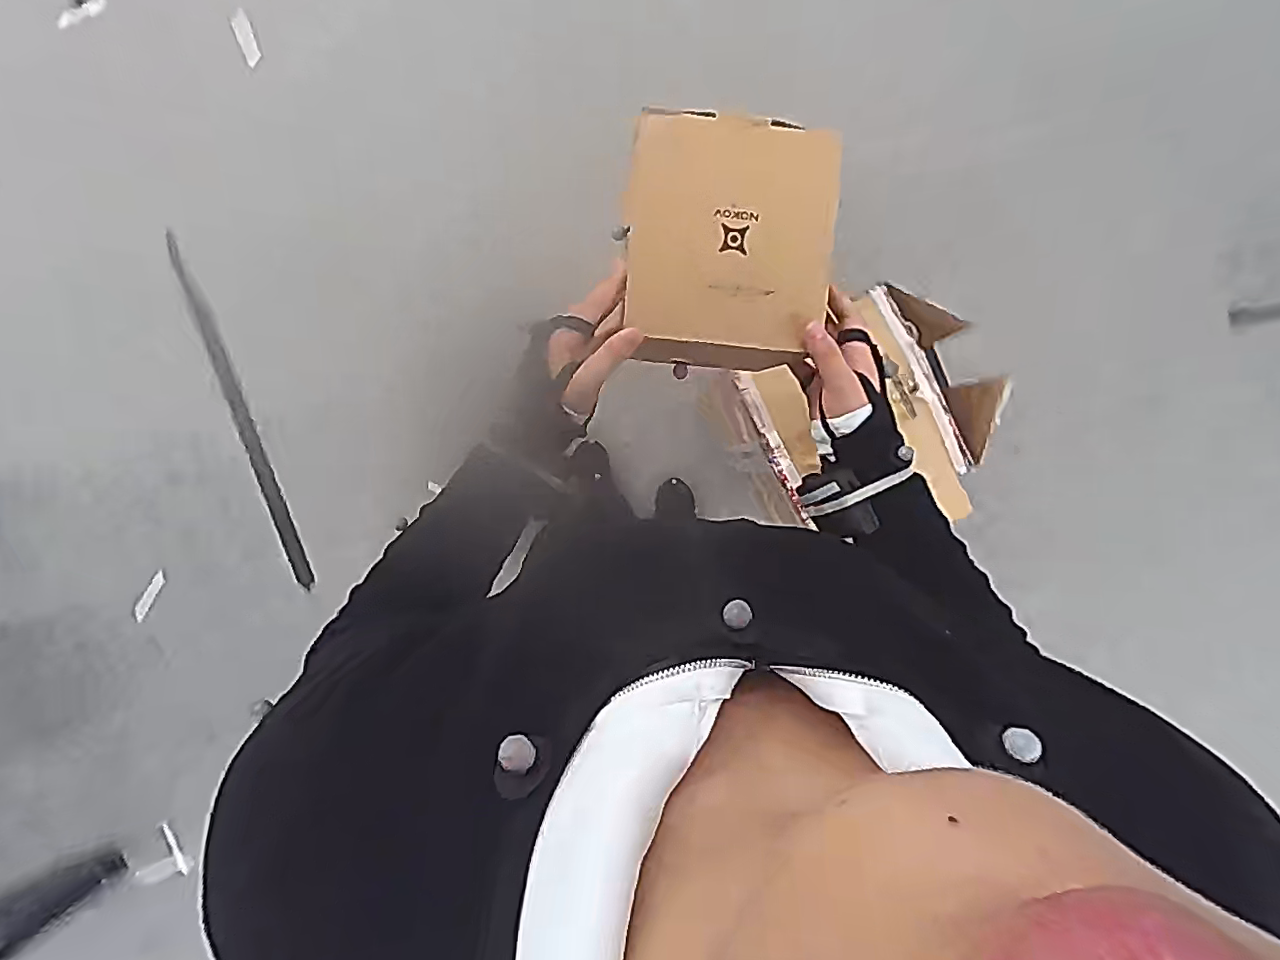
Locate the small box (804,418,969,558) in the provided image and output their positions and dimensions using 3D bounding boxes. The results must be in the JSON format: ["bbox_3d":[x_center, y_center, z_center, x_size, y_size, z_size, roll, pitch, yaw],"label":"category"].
[{"bbox_3d":[0.411,0.008,0.931,0.168,0.176,0.179,-28,91,2],"label":"small box"}]

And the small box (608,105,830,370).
[{"bbox_3d":[0.058,-0.204,0.507,0.168,0.176,0.179,3,96,-6],"label":"small box"}]
